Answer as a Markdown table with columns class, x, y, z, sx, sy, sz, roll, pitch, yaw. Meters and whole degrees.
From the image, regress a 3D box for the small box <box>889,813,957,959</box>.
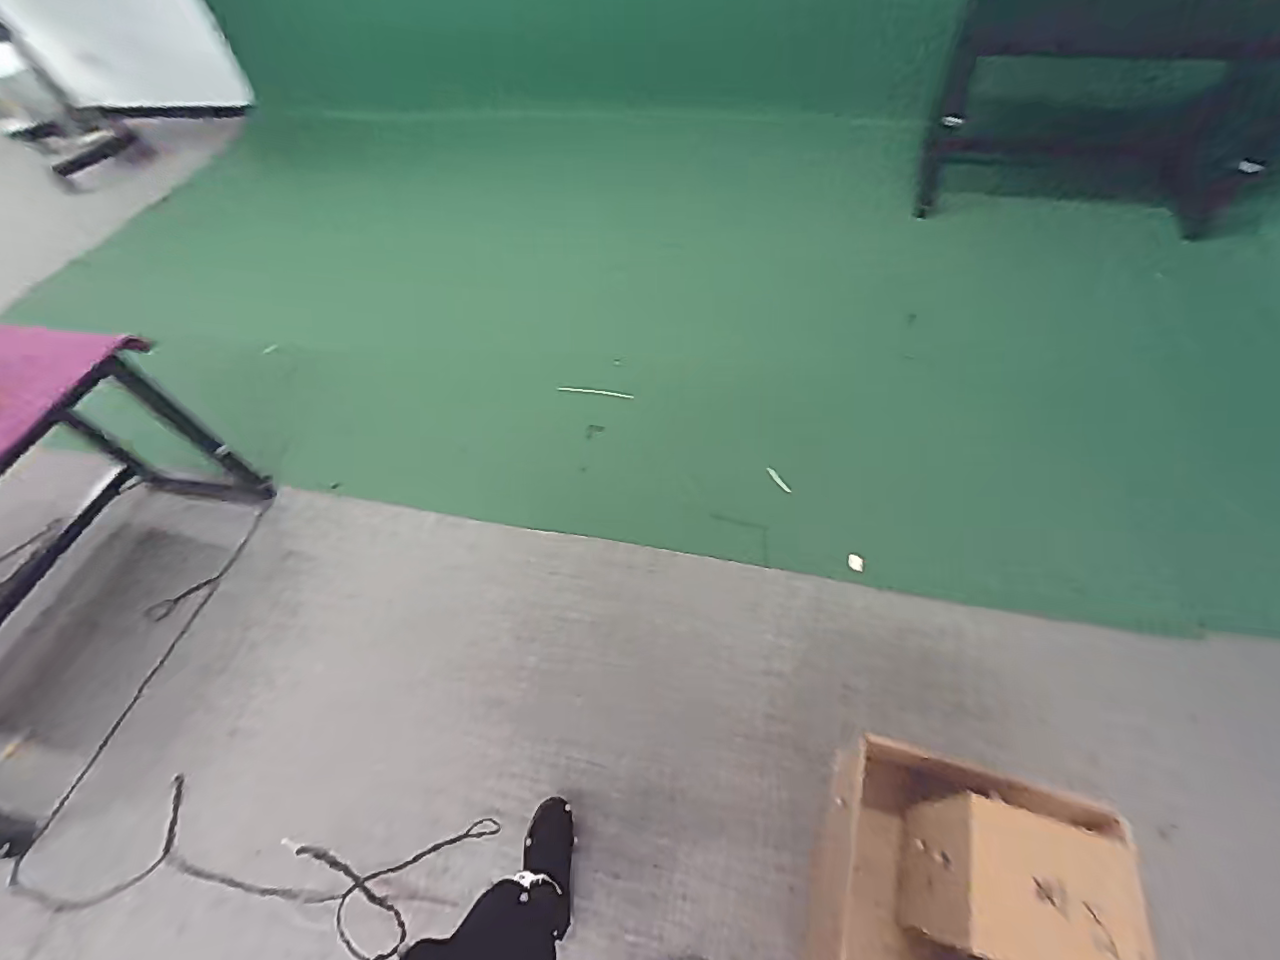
| class | x | y | z | sx | sy | sz | roll | pitch | yaw |
| --- | --- | --- | --- | --- | --- | --- | --- | --- | --- |
| small box | 0.507 | 0.639 | 0.829 | 0.179 | 0.176 | 0.168 | 15 | 56 | 16 |

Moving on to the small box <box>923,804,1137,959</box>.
| class | x | y | z | sx | sy | sz | roll | pitch | yaw |
| --- | --- | --- | --- | --- | --- | --- | --- | --- | --- |
| small box | 0.484 | 0.546 | 0.696 | 0.179 | 0.176 | 0.168 | 14 | 58 | 15 |
